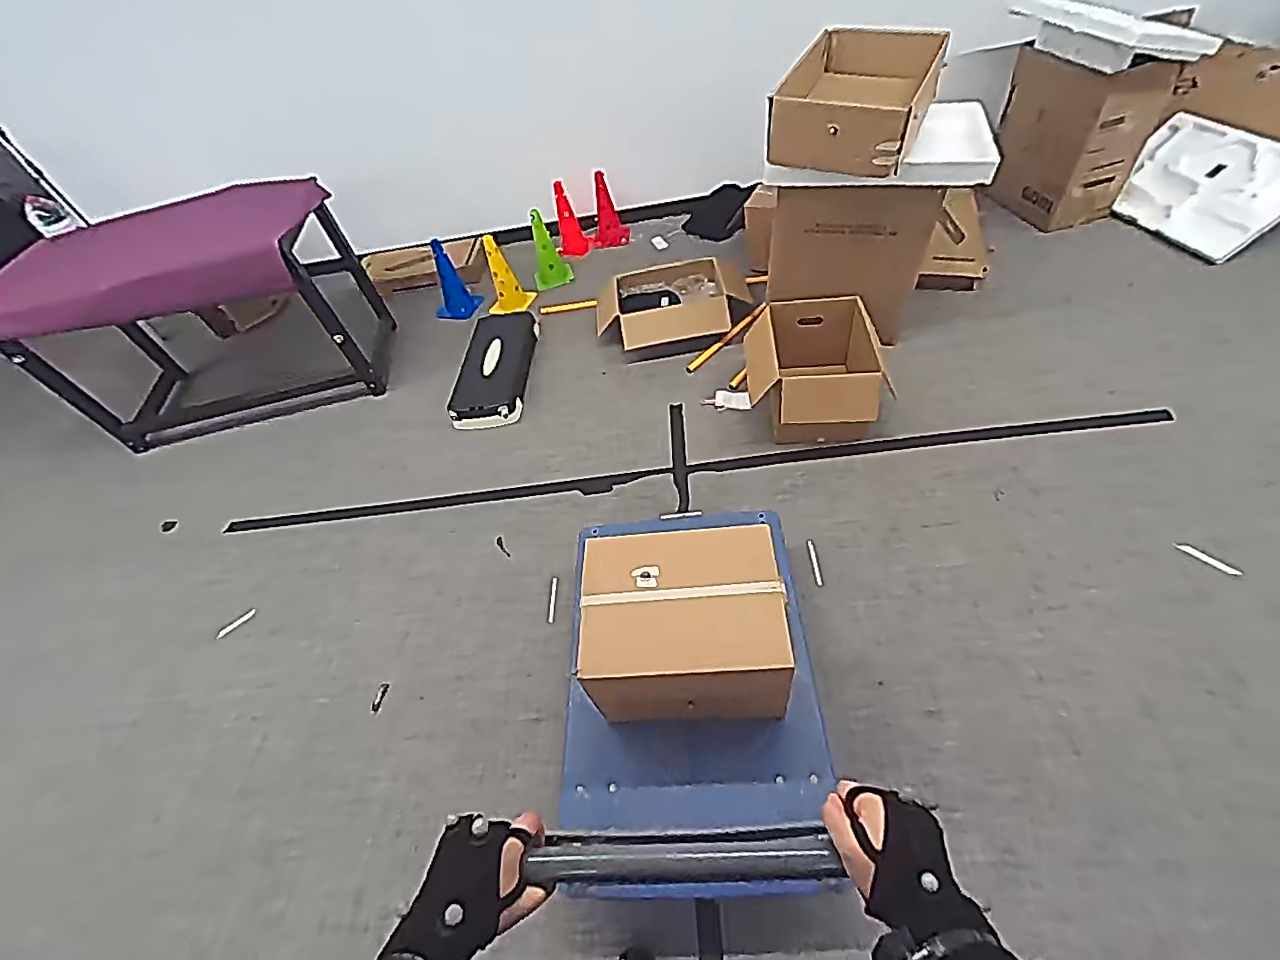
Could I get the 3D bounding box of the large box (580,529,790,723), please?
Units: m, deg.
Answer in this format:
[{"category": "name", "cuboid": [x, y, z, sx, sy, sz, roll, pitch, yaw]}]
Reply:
[{"category": "large box", "cuboid": [0.104, 0.340, 1.220, 0.408, 0.320, 0.320, -6, 50, 7]}]
